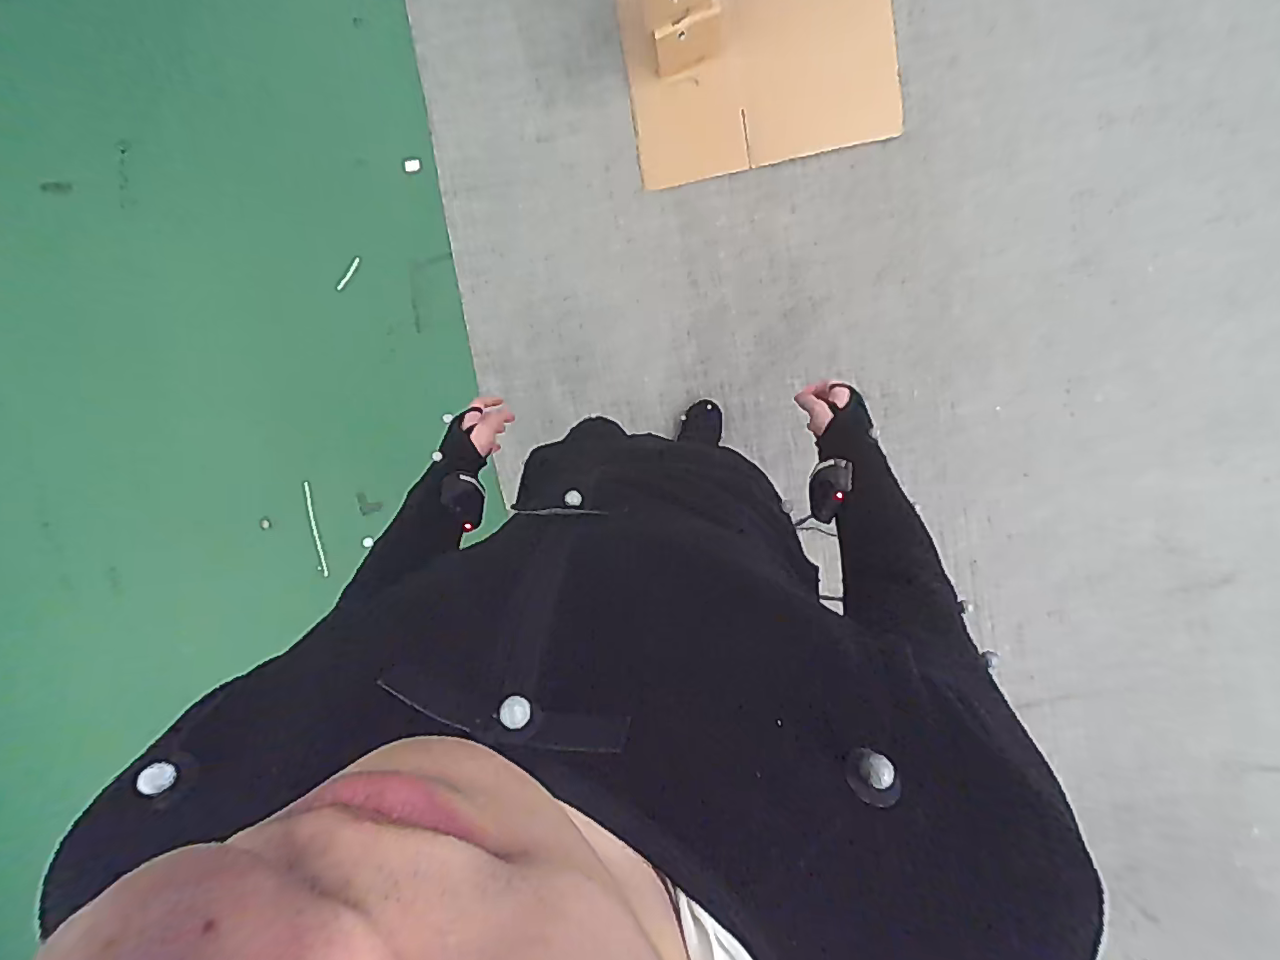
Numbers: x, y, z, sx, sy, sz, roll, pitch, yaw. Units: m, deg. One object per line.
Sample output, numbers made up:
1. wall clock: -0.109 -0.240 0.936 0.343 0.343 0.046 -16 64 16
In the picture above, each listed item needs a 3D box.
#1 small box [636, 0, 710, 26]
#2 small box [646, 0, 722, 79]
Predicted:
1. small box: 0.060 -1.165 1.202 0.168 0.176 0.179 -15 94 8
2. small box: 0.103 -1.173 1.362 0.168 0.176 0.179 -16 94 9
